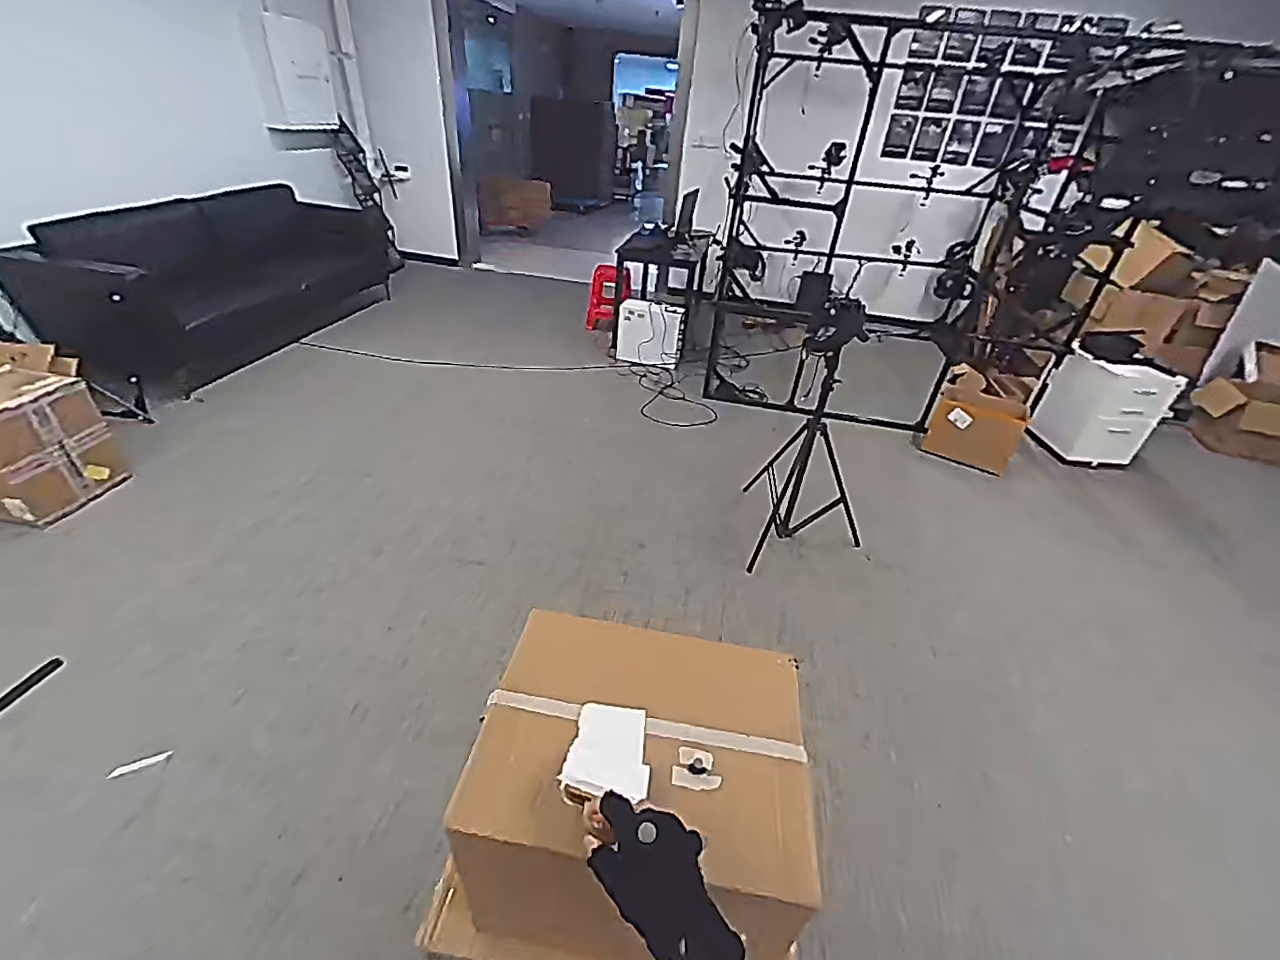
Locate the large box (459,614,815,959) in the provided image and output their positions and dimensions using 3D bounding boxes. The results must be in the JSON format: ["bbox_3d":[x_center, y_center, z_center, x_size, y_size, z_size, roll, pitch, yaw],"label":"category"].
[{"bbox_3d":[-0.003,0.442,0.791,0.408,0.320,0.320,9,35,4],"label":"large box"}]
